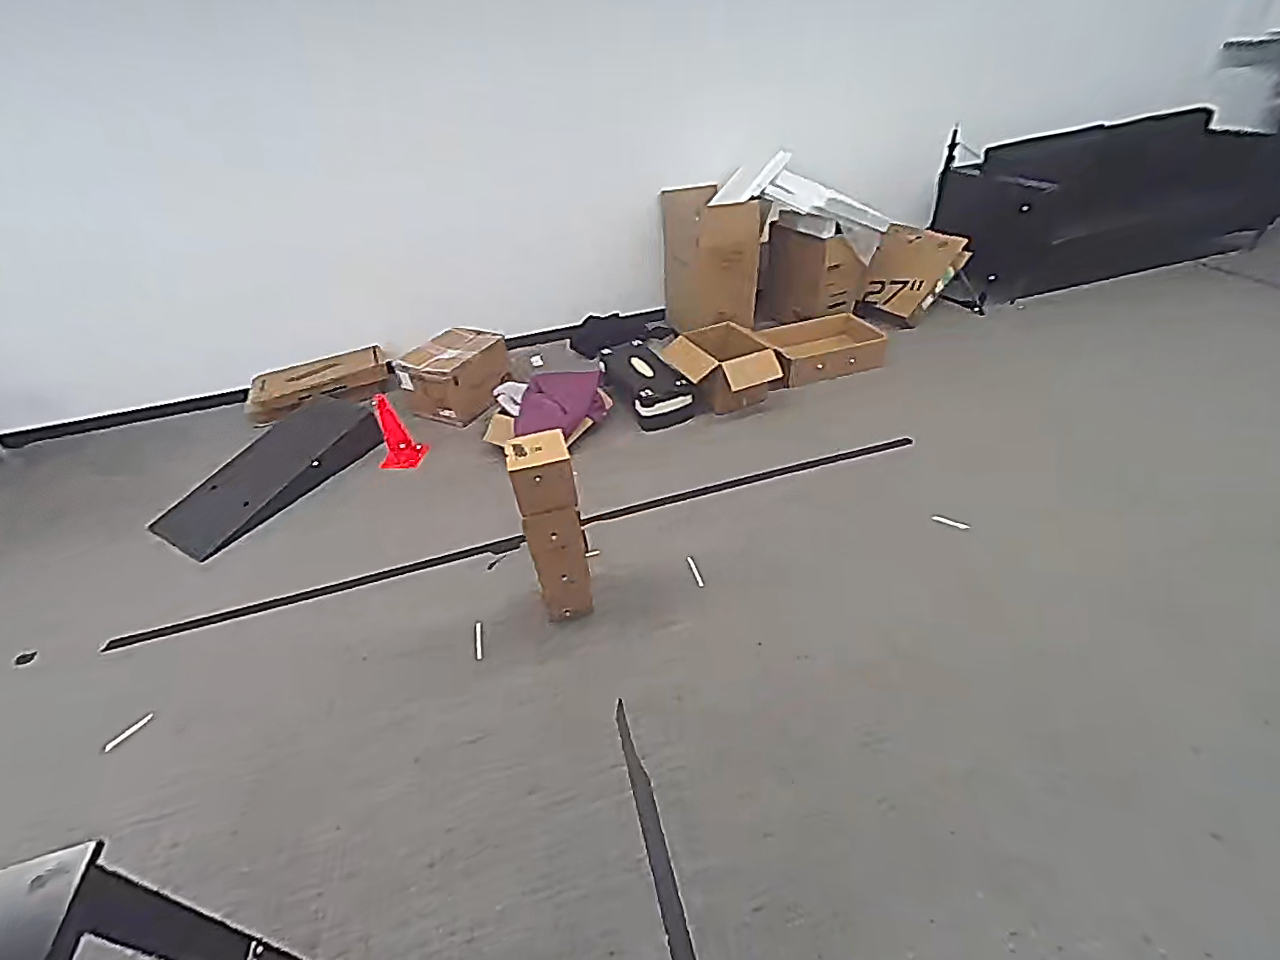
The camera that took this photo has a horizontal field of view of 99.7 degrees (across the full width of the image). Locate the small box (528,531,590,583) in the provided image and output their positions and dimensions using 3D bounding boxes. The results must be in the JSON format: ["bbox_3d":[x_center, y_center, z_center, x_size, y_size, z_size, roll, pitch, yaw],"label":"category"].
[{"bbox_3d":[-0.264,0.197,1.719,0.168,0.176,0.179,-14,39,-8],"label":"small box"}]

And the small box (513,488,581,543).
[{"bbox_3d":[-0.278,0.071,1.615,0.168,0.176,0.179,-13,40,-8],"label":"small box"}]

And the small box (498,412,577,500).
[{"bbox_3d":[-0.288,-0.065,1.521,0.179,0.176,0.168,-14,39,-10],"label":"small box"}]

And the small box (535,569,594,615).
[{"bbox_3d":[-0.260,0.322,1.827,0.168,0.176,0.179,-15,41,-9],"label":"small box"}]
